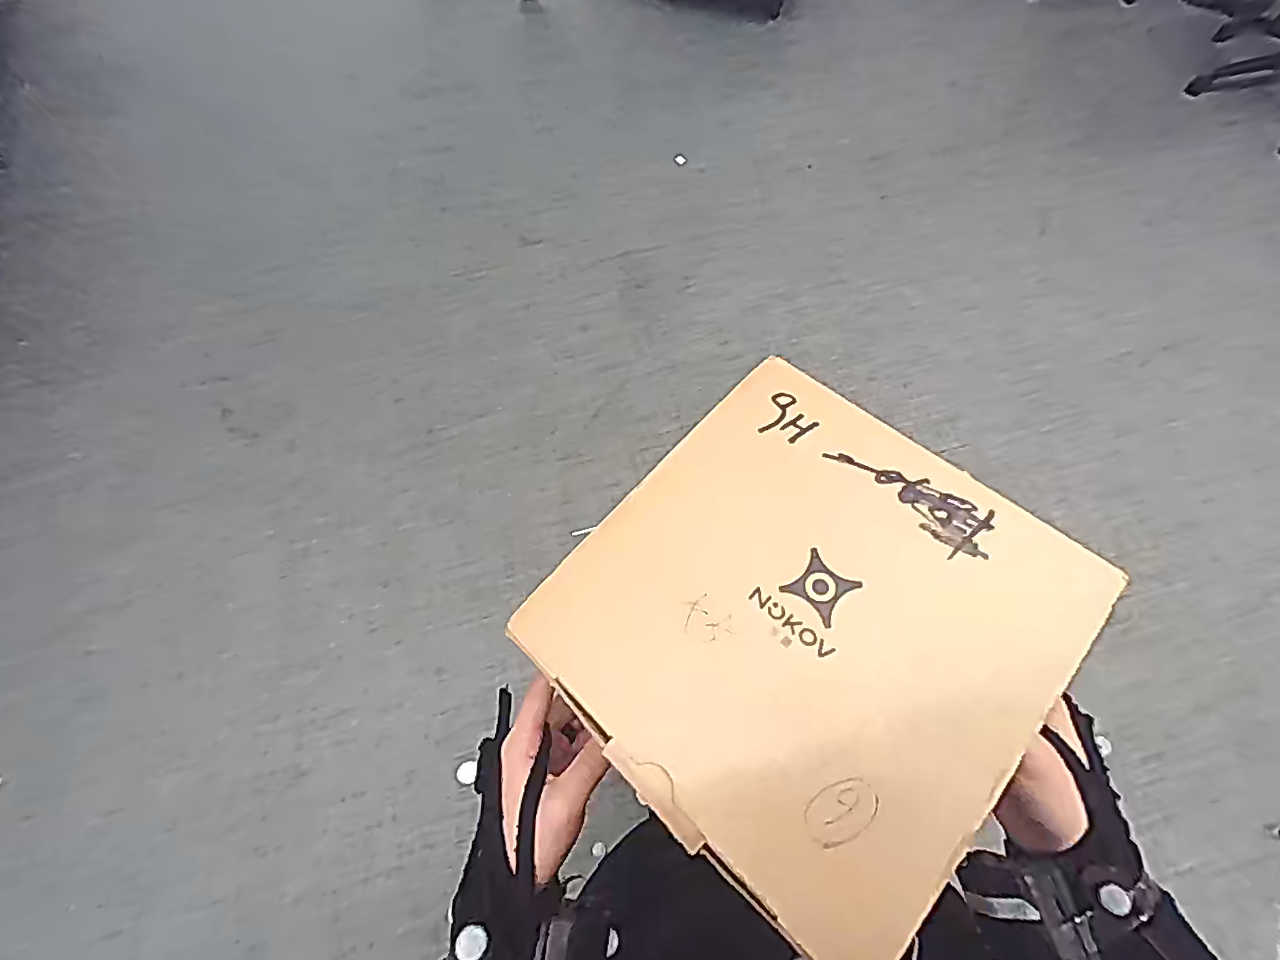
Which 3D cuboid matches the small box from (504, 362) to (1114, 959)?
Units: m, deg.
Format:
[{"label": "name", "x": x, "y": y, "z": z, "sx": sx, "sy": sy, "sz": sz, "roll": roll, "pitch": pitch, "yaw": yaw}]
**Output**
[{"label": "small box", "x": 0.069, "y": 0.083, "z": 0.280, "sx": 0.168, "sy": 0.176, "sz": 0.179, "roll": 39, "pitch": 75, "yaw": 21}]
